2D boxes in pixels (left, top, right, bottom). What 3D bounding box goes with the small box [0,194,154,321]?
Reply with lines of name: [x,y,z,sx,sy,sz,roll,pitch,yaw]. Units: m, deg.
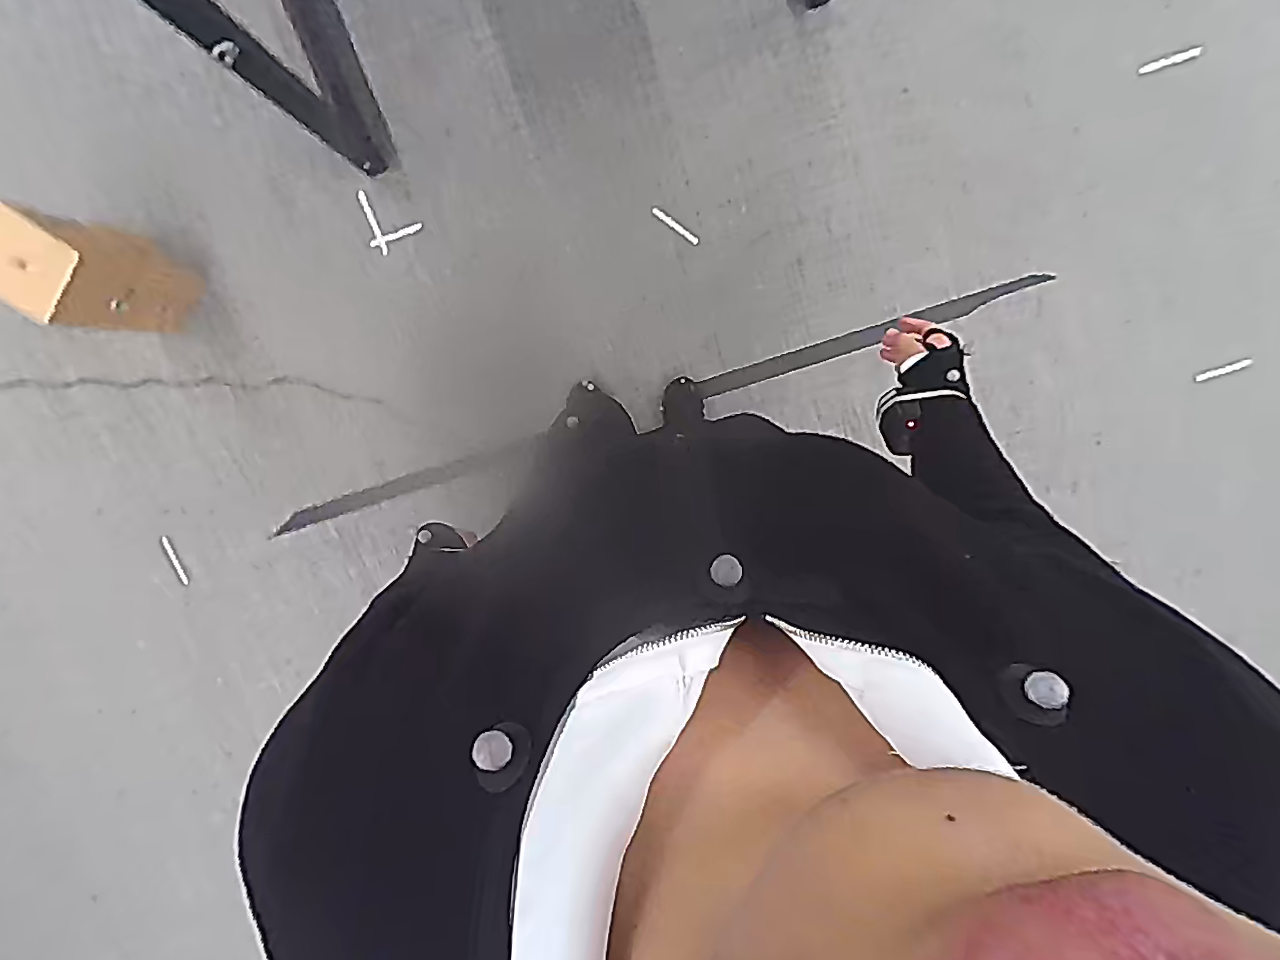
small box: [-1.189,-0.446,1.122,0.179,0.176,0.168,34,100,-9]

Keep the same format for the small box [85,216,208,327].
small box: [-1.193,-0.481,1.282,0.179,0.176,0.168,39,96,-8]
